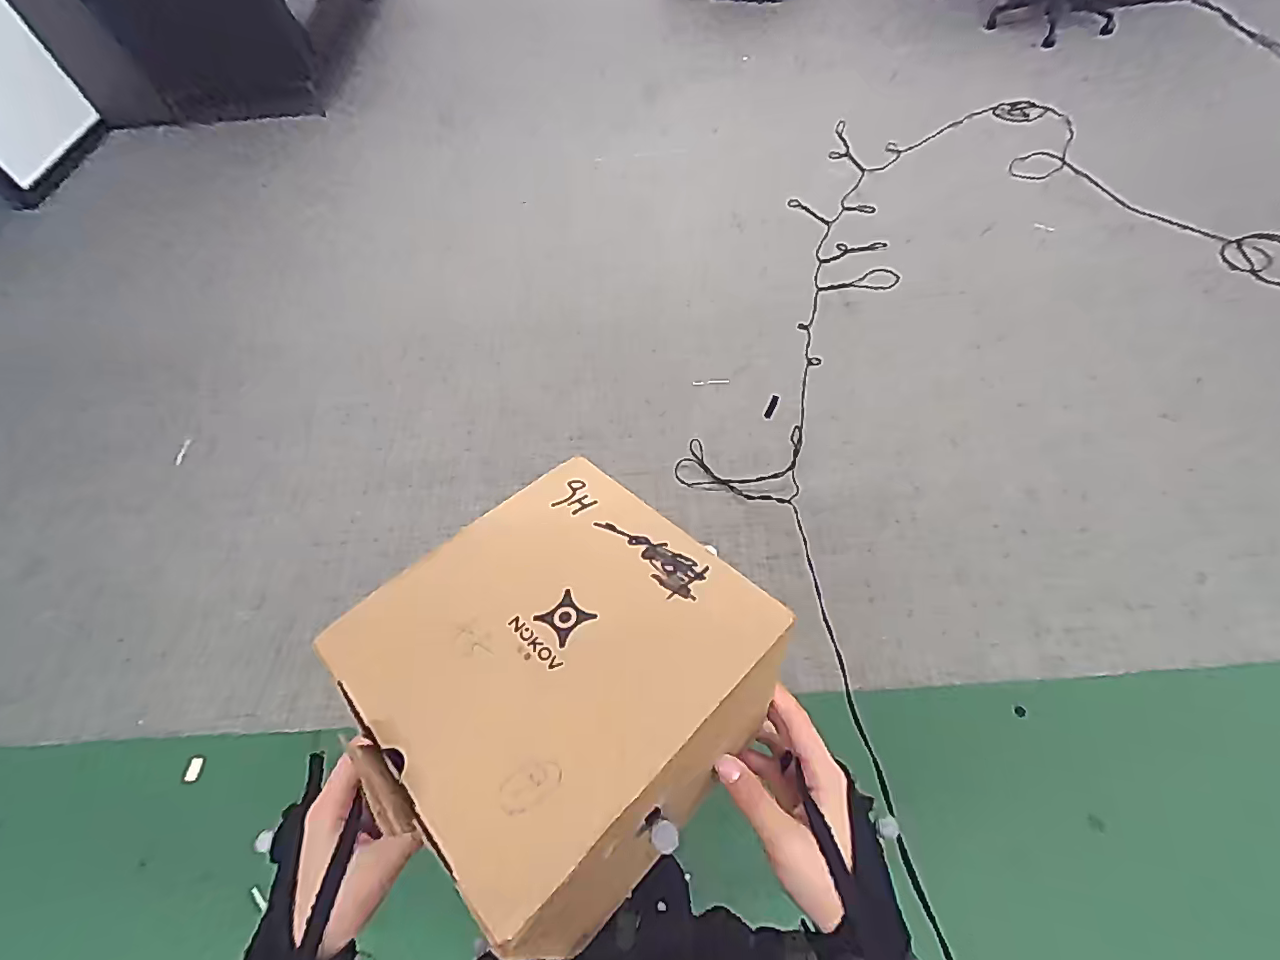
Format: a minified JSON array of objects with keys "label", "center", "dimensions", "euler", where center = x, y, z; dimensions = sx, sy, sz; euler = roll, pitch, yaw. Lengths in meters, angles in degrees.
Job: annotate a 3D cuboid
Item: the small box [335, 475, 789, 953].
[{"label":"small box","center":[-0.034,0.137,0.329],"dimensions":[0.179,0.176,0.168],"euler":[-38,56,-26]}]
